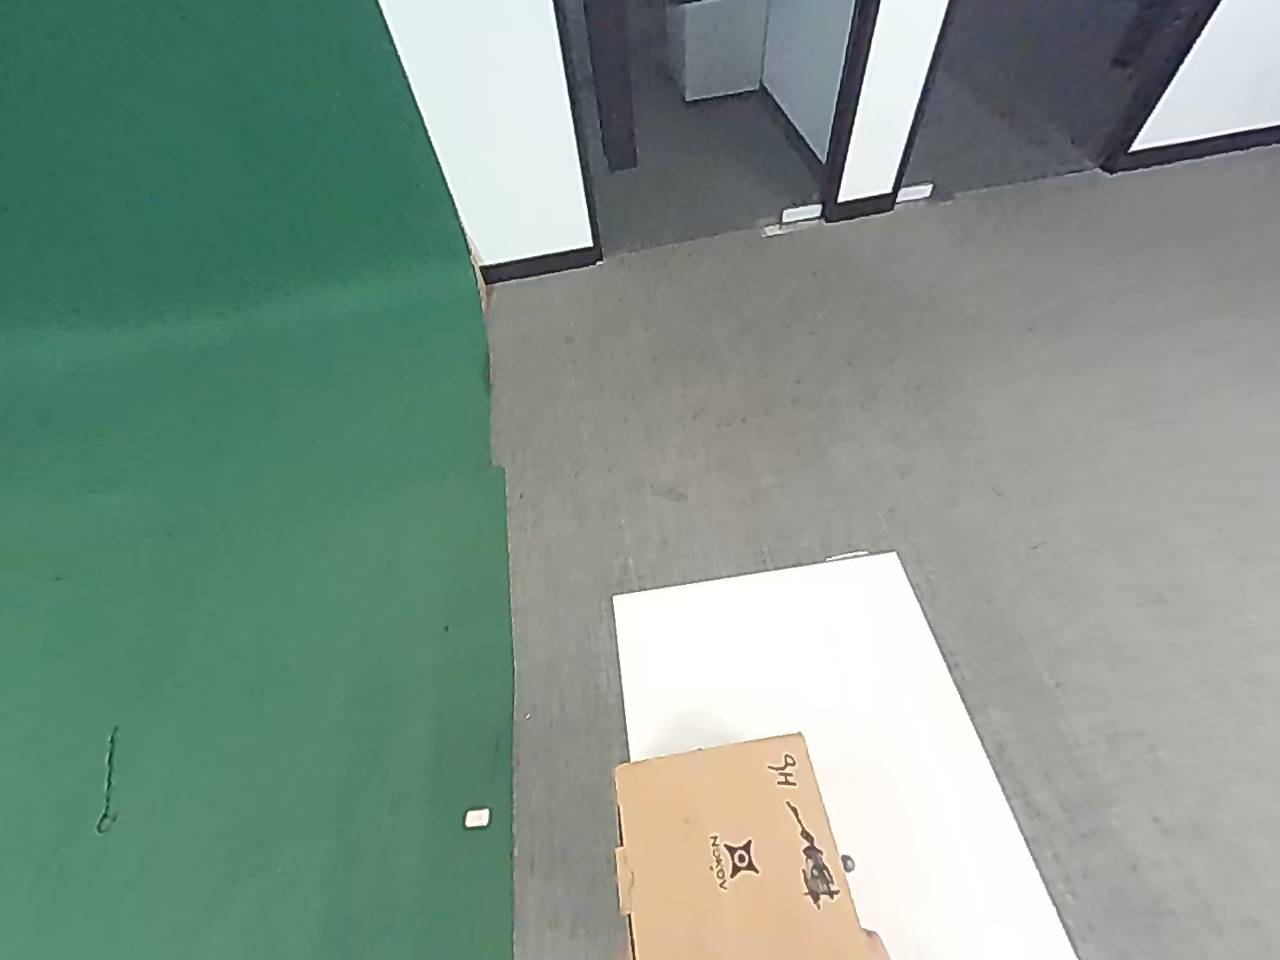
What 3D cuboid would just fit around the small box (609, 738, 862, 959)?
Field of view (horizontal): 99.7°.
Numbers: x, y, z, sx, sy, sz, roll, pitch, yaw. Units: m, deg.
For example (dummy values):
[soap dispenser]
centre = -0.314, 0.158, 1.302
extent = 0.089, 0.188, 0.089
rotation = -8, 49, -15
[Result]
[small box]
centre = 0.075, 0.354, 0.501
extent = 0.179, 0.176, 0.168
rotation = -9, 56, -1
